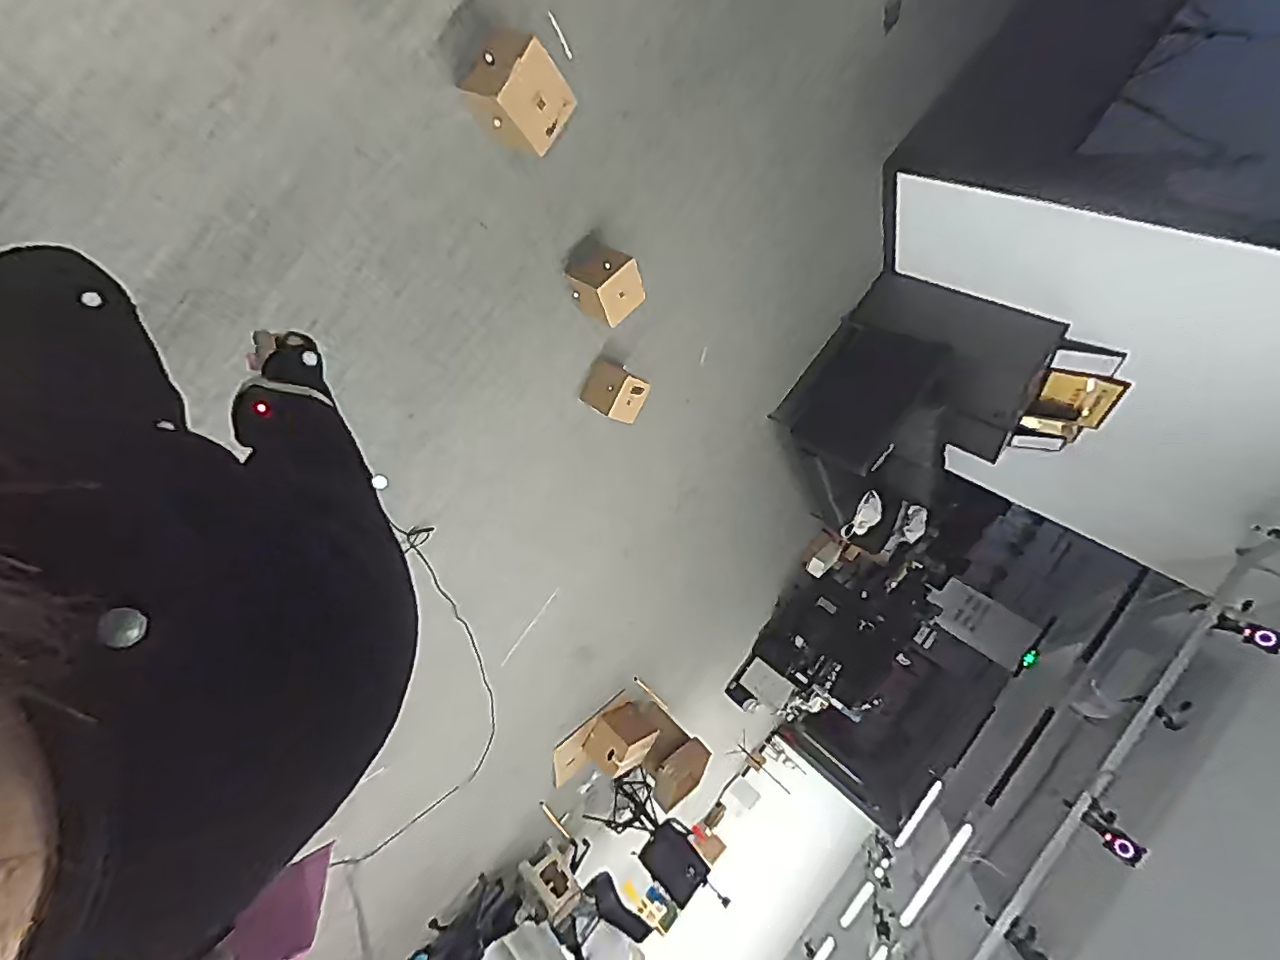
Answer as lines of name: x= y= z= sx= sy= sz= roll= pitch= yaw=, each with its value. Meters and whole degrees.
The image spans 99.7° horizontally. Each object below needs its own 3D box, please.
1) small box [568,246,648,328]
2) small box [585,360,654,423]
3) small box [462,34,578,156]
small box: x=-0.106 y=-0.647 z=1.797 sx=0.179 sy=0.176 sz=0.168 roll=-46 pitch=147 yaw=-15
small box: x=-0.084 y=-0.346 z=2.107 sx=0.168 sy=0.176 sz=0.179 roll=9 pitch=112 yaw=-55
small box: x=-0.290 y=-0.919 z=1.295 sx=0.168 sy=0.176 sz=0.179 roll=-56 pitch=148 yaw=2
